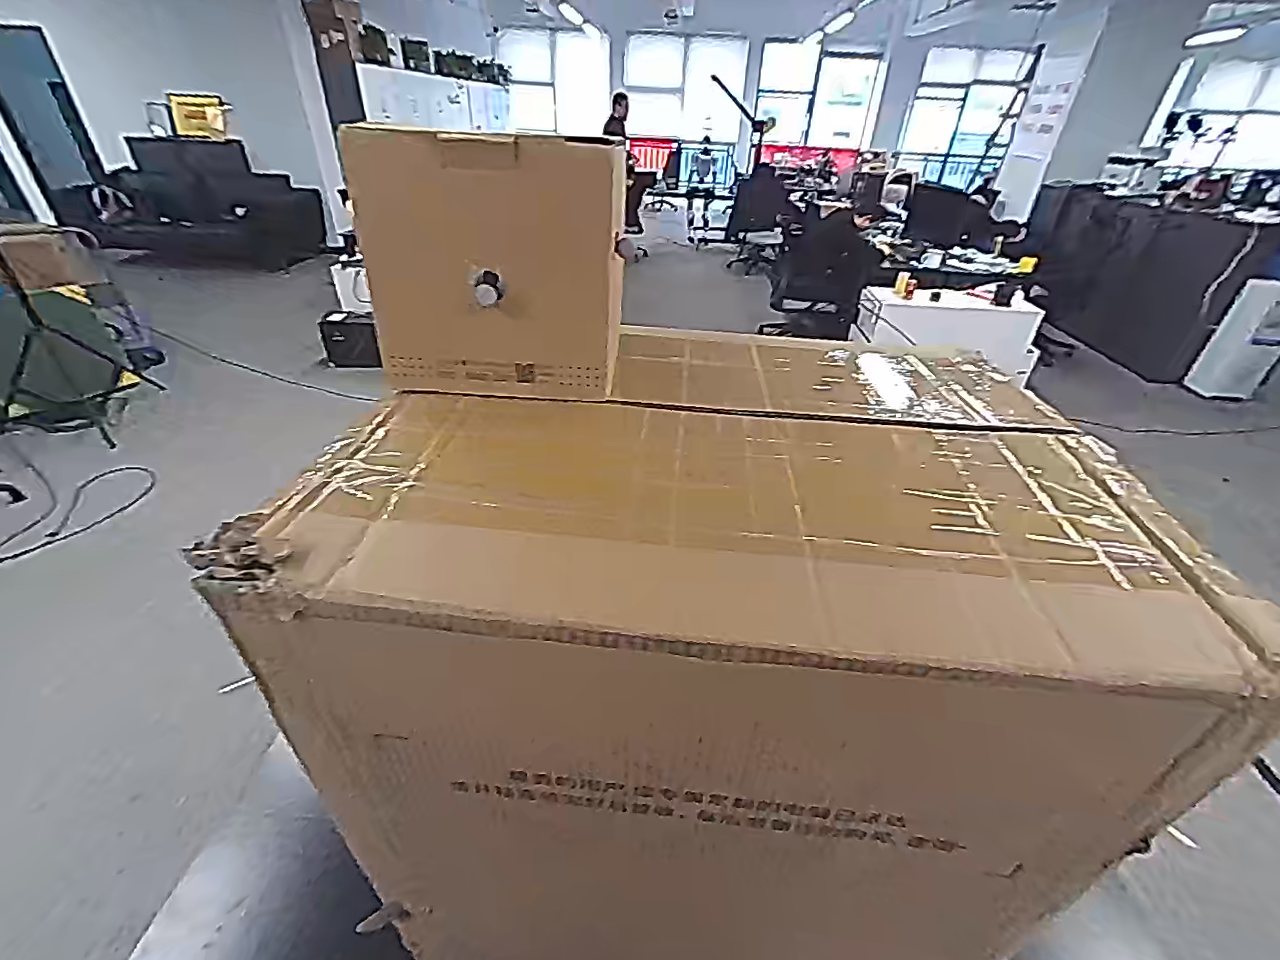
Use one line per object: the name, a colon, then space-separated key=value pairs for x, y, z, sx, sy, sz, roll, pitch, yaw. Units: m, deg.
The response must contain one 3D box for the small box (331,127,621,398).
small box: x=-0.101 y=-0.174 z=0.426 sx=0.168 sy=0.176 sz=0.179 roll=3 pitch=33 yaw=-1
